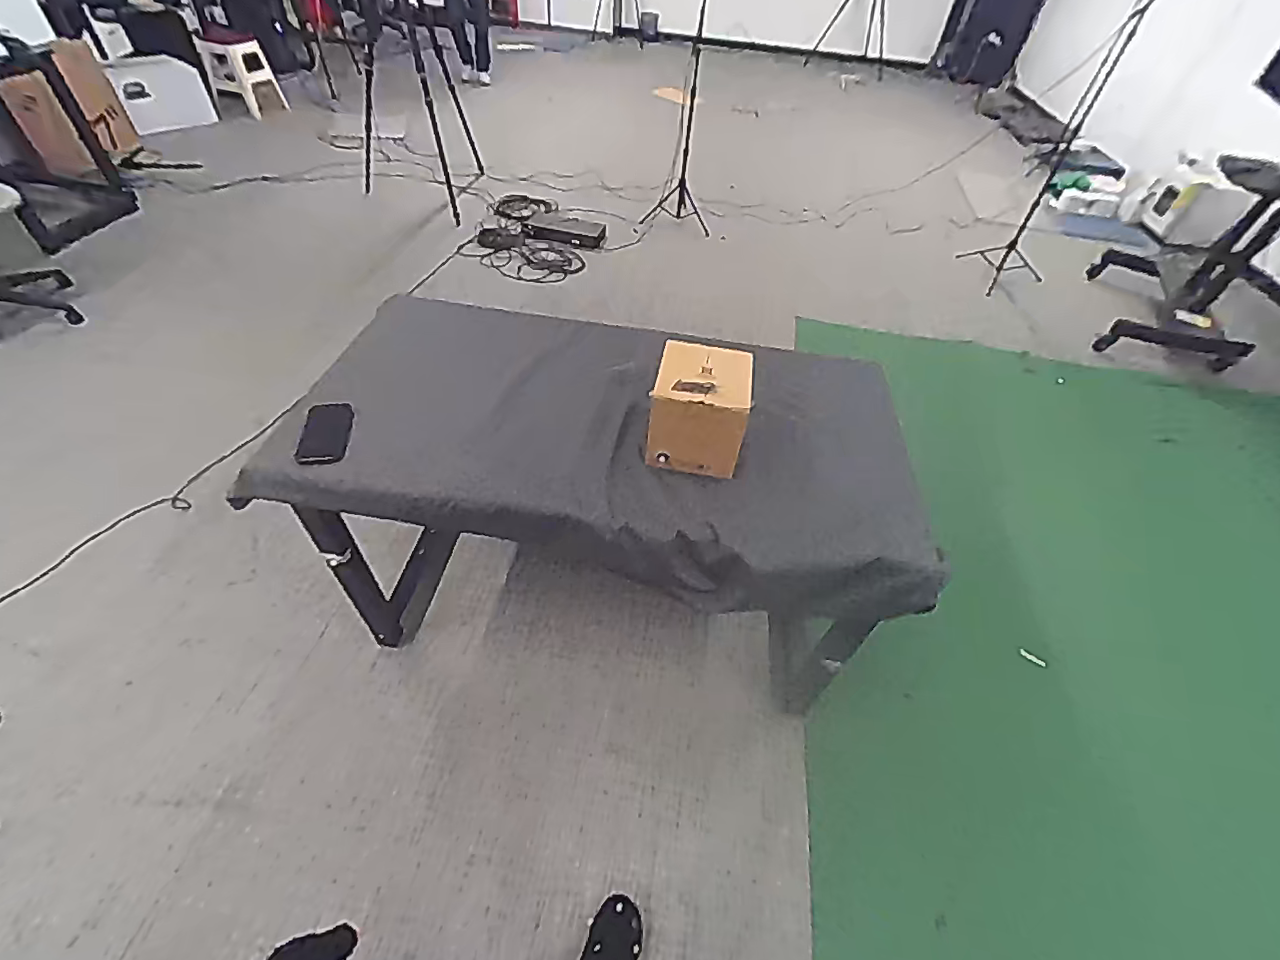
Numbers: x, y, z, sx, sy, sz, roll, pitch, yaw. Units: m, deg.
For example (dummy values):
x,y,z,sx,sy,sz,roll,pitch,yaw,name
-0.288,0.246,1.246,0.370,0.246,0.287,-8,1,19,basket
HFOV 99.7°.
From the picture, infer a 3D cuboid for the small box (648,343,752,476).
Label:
x,y,z,sx,sy,sz,roll,pitch,yaw,name
0.111,-0.130,1.021,0.168,0.176,0.179,10,46,3,small box
